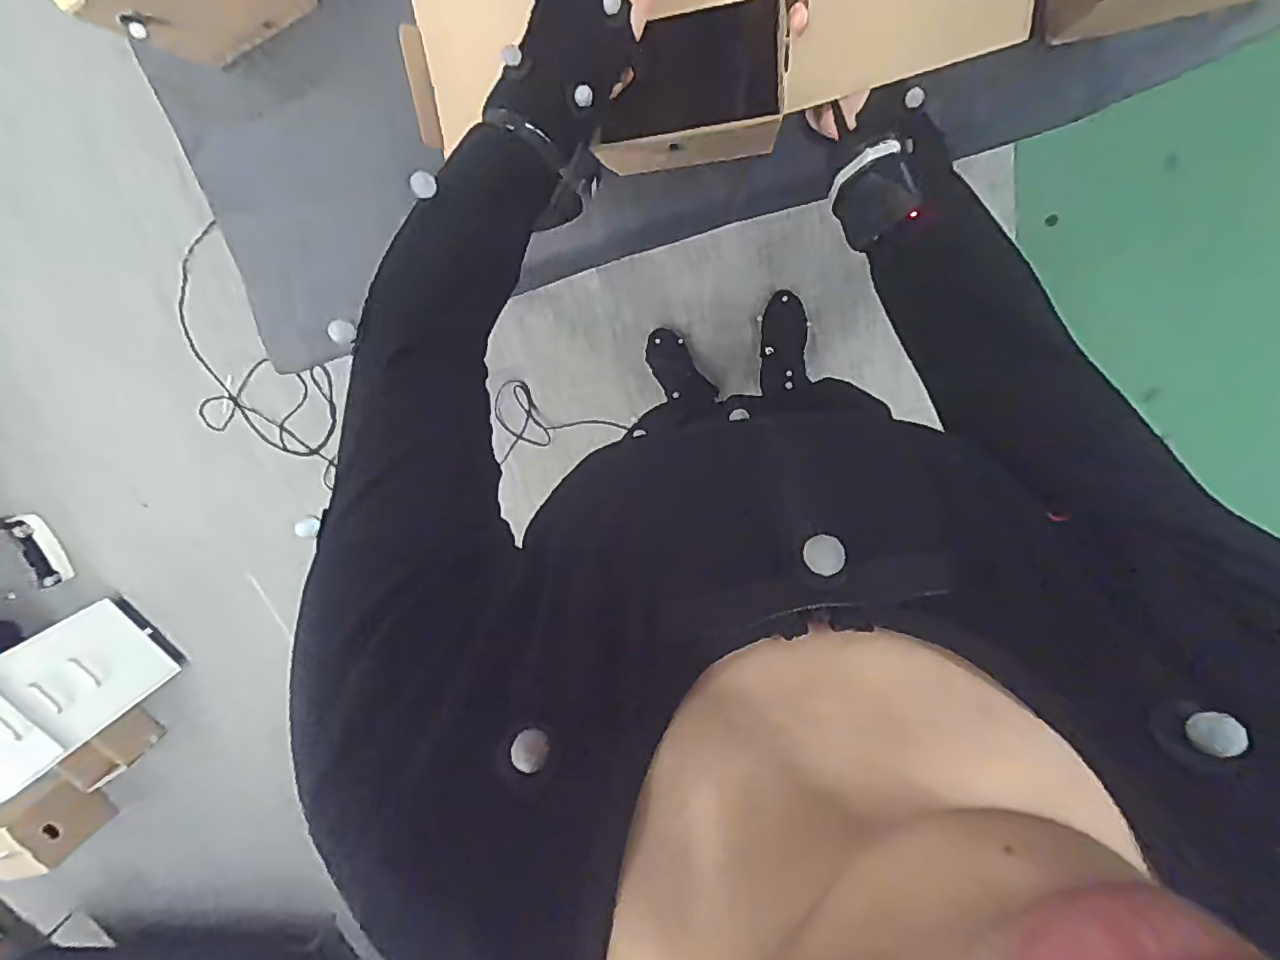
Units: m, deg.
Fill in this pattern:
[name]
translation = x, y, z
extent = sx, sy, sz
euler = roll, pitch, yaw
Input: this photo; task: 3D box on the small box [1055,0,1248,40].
[small box]
translation = 0.443, -0.466, 0.395
extent = 0.179, 0.176, 0.168
euler = -5, 109, 14
